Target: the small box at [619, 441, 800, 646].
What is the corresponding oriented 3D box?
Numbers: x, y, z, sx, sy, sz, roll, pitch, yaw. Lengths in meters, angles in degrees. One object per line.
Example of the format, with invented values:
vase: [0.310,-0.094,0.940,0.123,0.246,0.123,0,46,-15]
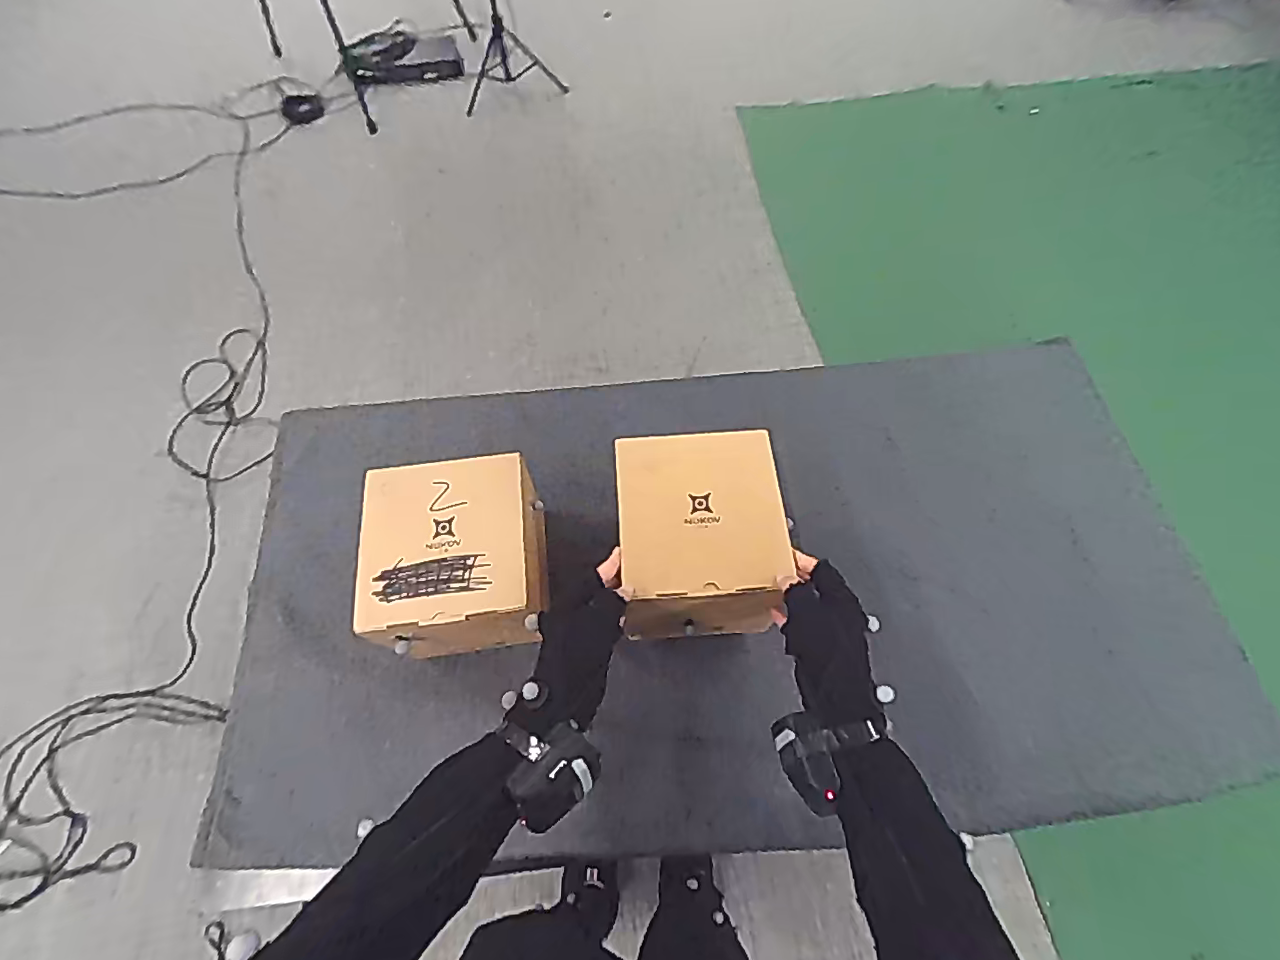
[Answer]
small box: [0.064,0.076,0.611,0.168,0.176,0.179,-4,61,-1]
